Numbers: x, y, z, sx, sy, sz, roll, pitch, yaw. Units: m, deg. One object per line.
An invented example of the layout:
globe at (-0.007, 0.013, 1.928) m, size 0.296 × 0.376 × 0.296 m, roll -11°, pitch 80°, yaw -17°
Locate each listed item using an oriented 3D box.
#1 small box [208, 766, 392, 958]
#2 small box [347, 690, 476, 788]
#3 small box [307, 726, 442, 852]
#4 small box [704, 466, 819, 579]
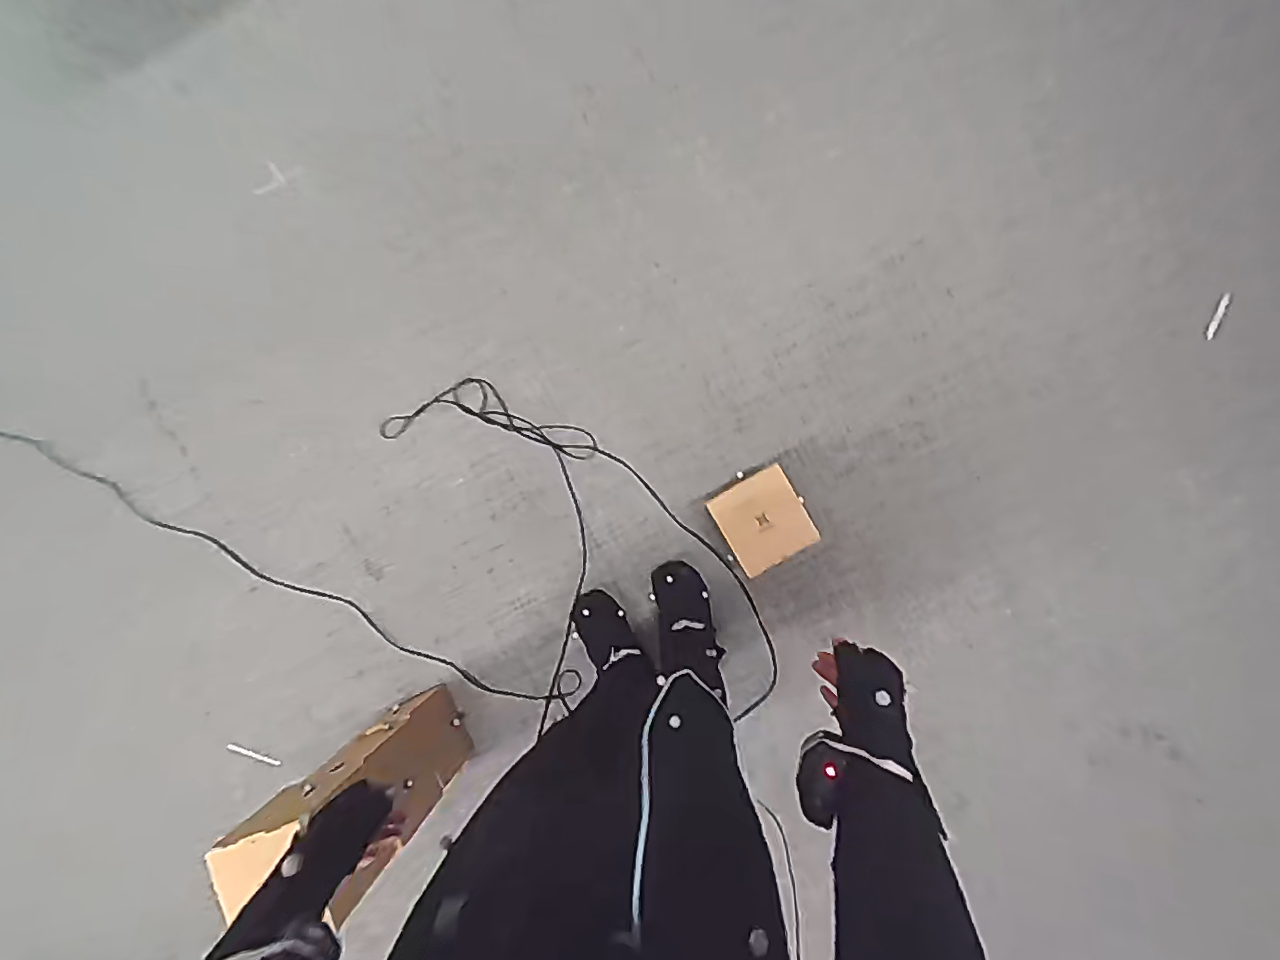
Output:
small box at (-0.542, 0.614, 0.889) m, size 0.168 × 0.176 × 0.179 m, roll -20°, pitch 89°, yaw 5°
small box at (-0.505, 0.599, 1.216) m, size 0.168 × 0.176 × 0.179 m, roll -29°, pitch 87°, yaw 8°
small box at (-0.521, 0.608, 1.050) m, size 0.168 × 0.176 × 0.179 m, roll -25°, pitch 90°, yaw 5°
small box at (0.248, 0.082, 1.144) m, size 0.168 × 0.176 × 0.179 m, roll -30°, pitch 88°, yaw 4°
